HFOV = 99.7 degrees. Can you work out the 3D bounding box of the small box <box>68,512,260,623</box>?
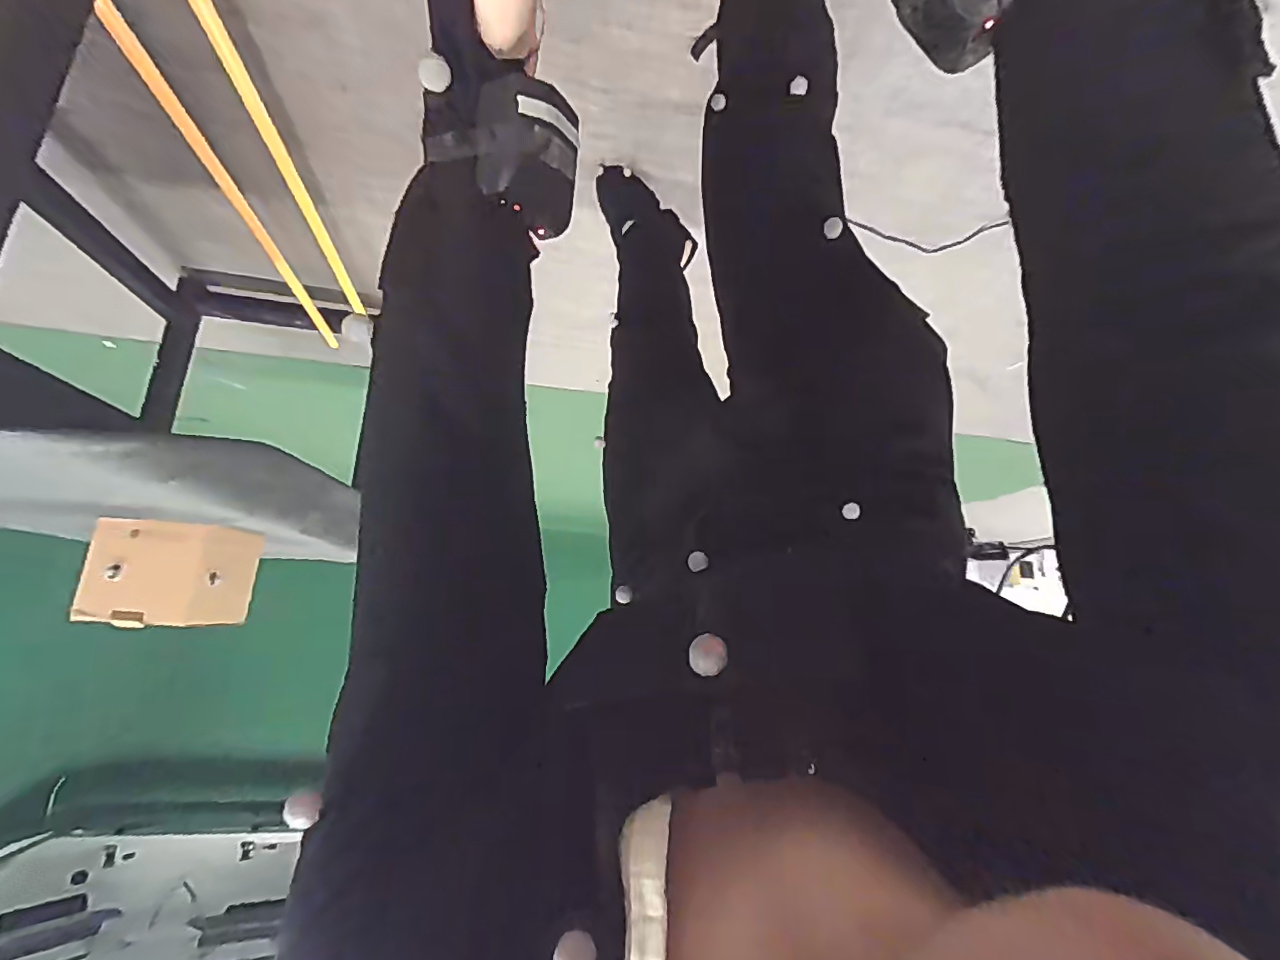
[{"bbox_3d":[-0.802,0.154,0.933,0.168,0.176,0.179,6,166,-6],"label":"small box"}]
